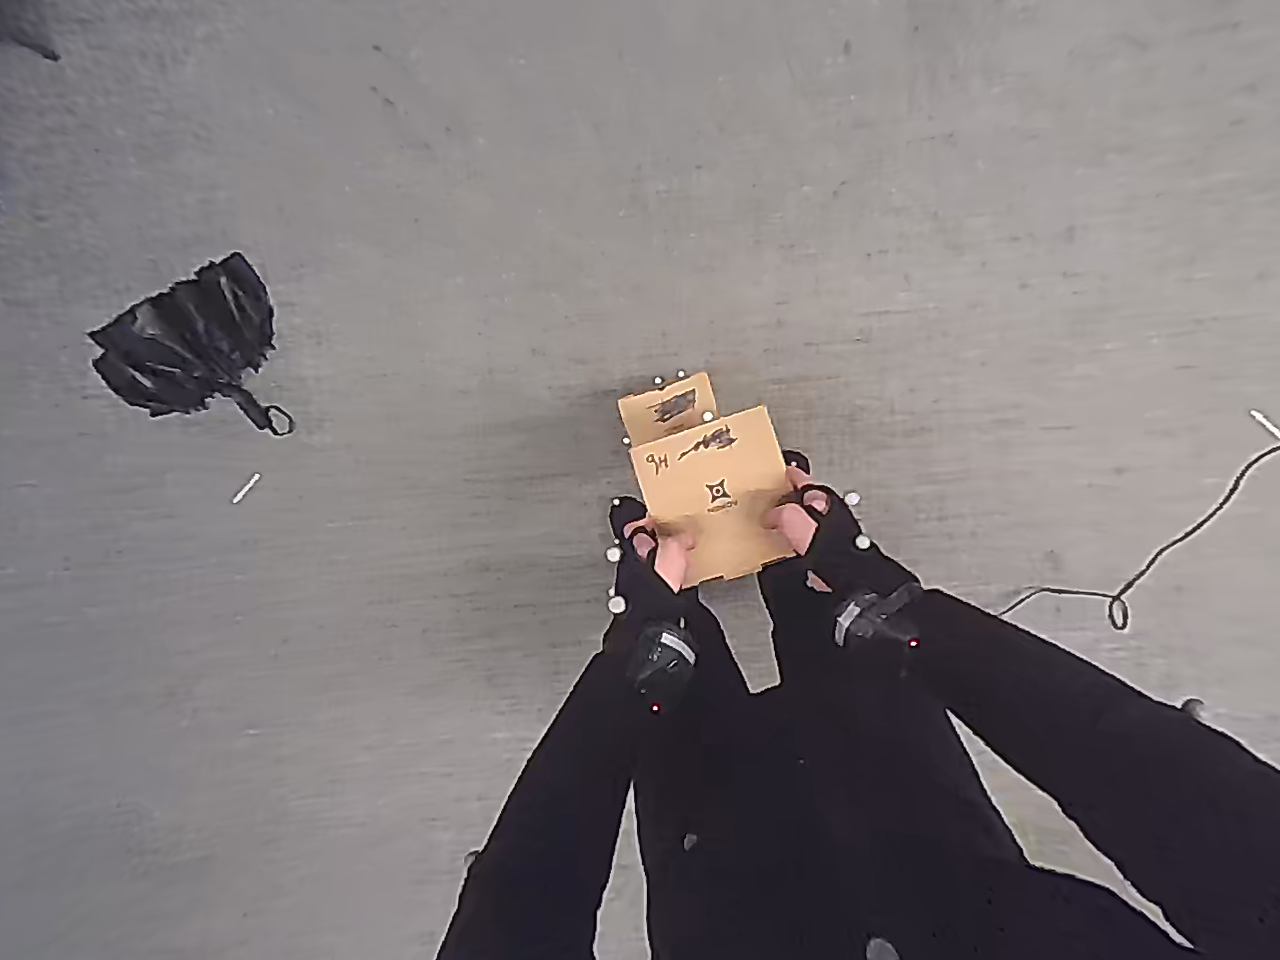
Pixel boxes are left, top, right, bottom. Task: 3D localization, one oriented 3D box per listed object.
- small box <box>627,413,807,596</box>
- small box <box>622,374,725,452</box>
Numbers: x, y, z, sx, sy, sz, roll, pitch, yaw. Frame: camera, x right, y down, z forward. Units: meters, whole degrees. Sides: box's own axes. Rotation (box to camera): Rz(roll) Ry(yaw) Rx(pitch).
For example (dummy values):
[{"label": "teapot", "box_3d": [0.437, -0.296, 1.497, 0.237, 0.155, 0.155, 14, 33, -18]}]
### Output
[{"label": "small box", "box_3d": [0.097, 0.026, 0.691, 0.168, 0.176, 0.179, -18, 89, 7]}, {"label": "small box", "box_3d": [0.071, -0.091, 1.023, 0.168, 0.176, 0.179, -18, 99, 5]}]
